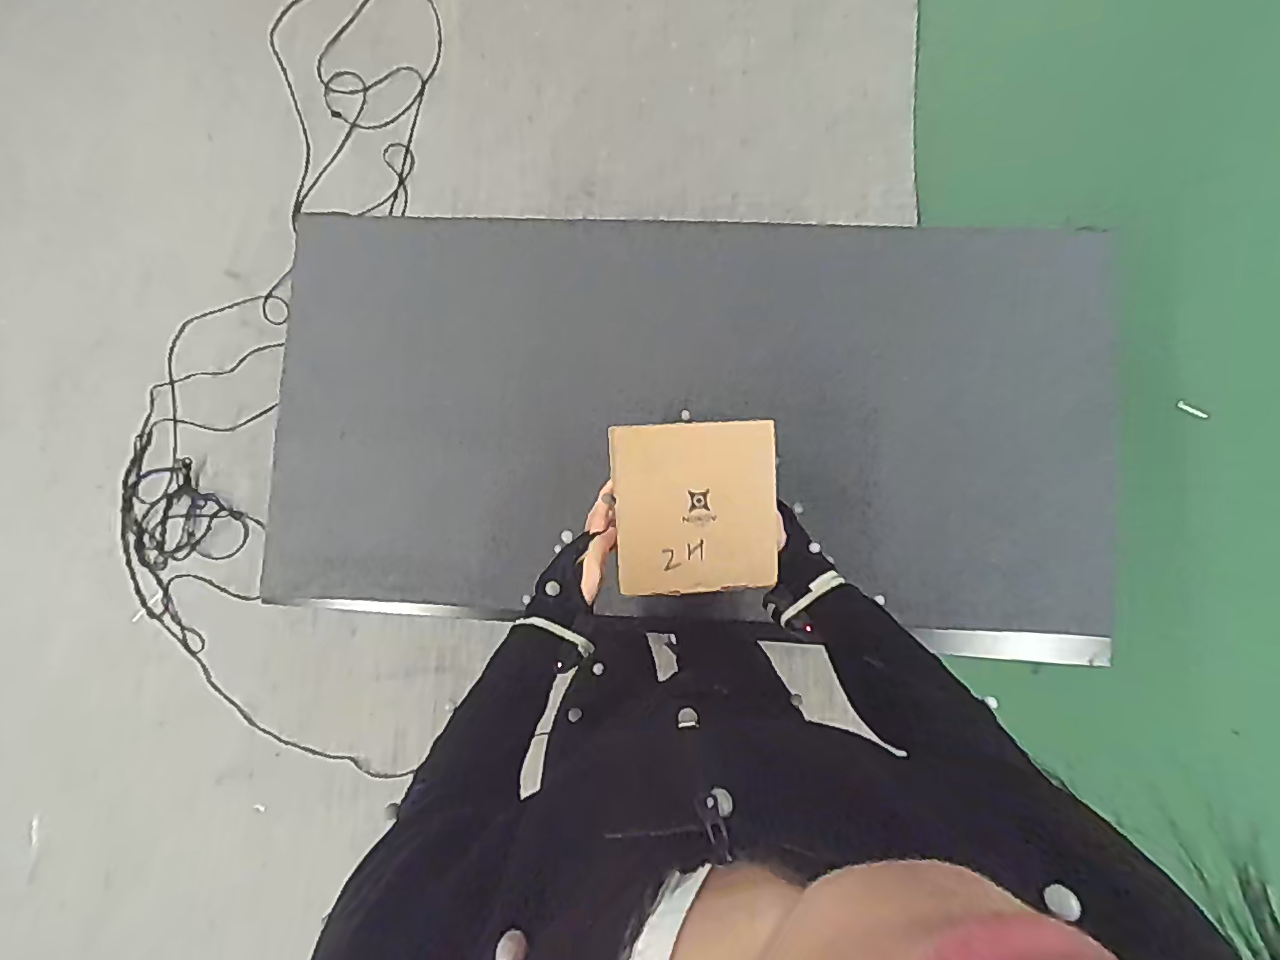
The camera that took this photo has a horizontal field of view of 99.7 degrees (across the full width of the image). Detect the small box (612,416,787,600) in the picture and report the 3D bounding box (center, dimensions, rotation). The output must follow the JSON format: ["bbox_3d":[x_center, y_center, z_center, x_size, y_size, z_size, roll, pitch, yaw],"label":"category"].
[{"bbox_3d":[0.056,0.021,0.608,0.168,0.176,0.179,-3,97,-5],"label":"small box"}]
